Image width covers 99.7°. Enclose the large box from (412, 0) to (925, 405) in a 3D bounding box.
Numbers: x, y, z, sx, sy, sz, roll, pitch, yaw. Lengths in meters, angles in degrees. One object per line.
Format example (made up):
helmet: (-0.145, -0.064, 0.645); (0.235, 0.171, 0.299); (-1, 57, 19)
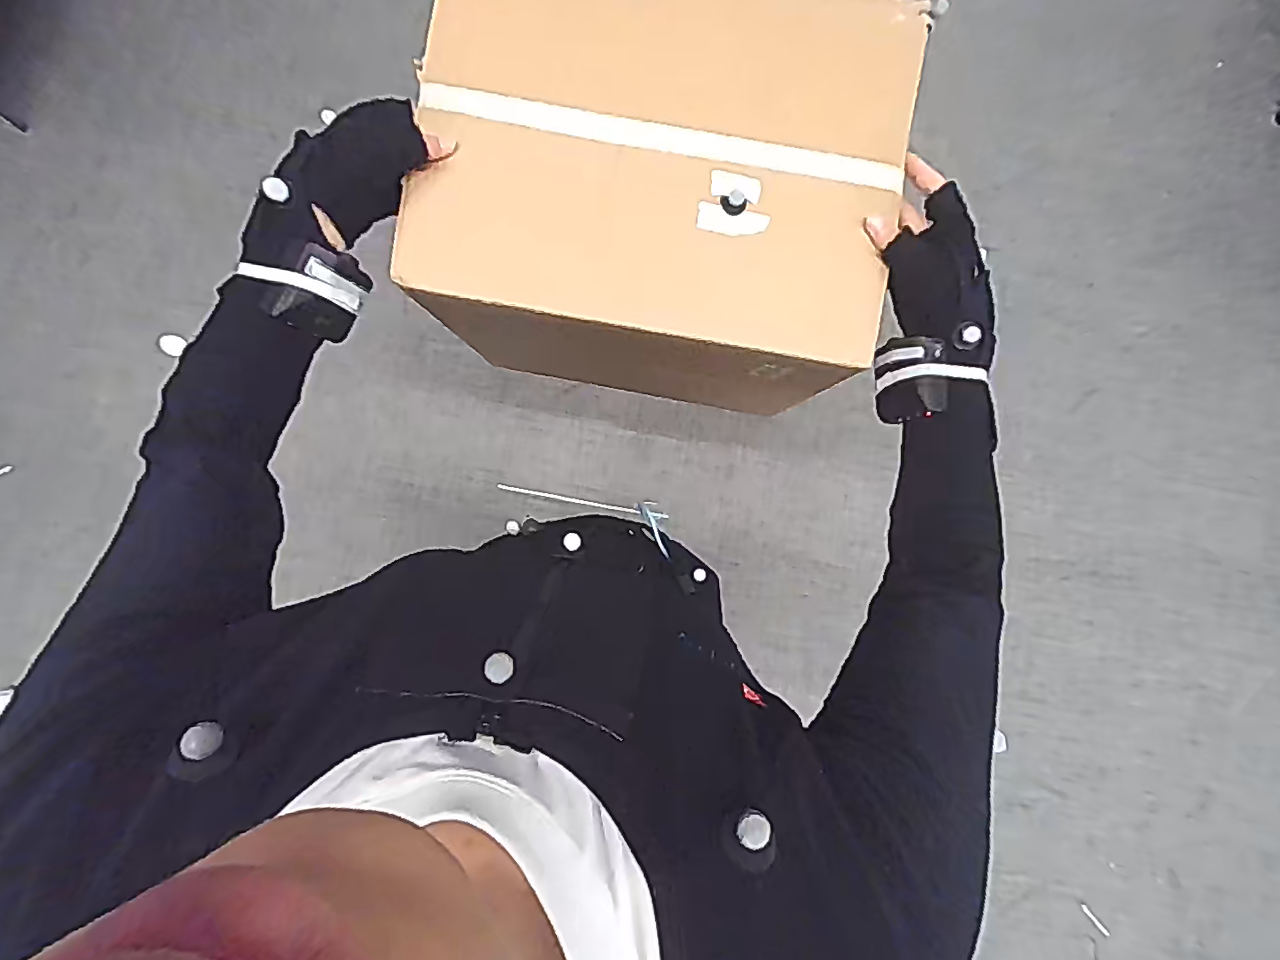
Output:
large box: (0.021, -0.285, 0.603); (0.408, 0.320, 0.320); (10, 90, -2)
